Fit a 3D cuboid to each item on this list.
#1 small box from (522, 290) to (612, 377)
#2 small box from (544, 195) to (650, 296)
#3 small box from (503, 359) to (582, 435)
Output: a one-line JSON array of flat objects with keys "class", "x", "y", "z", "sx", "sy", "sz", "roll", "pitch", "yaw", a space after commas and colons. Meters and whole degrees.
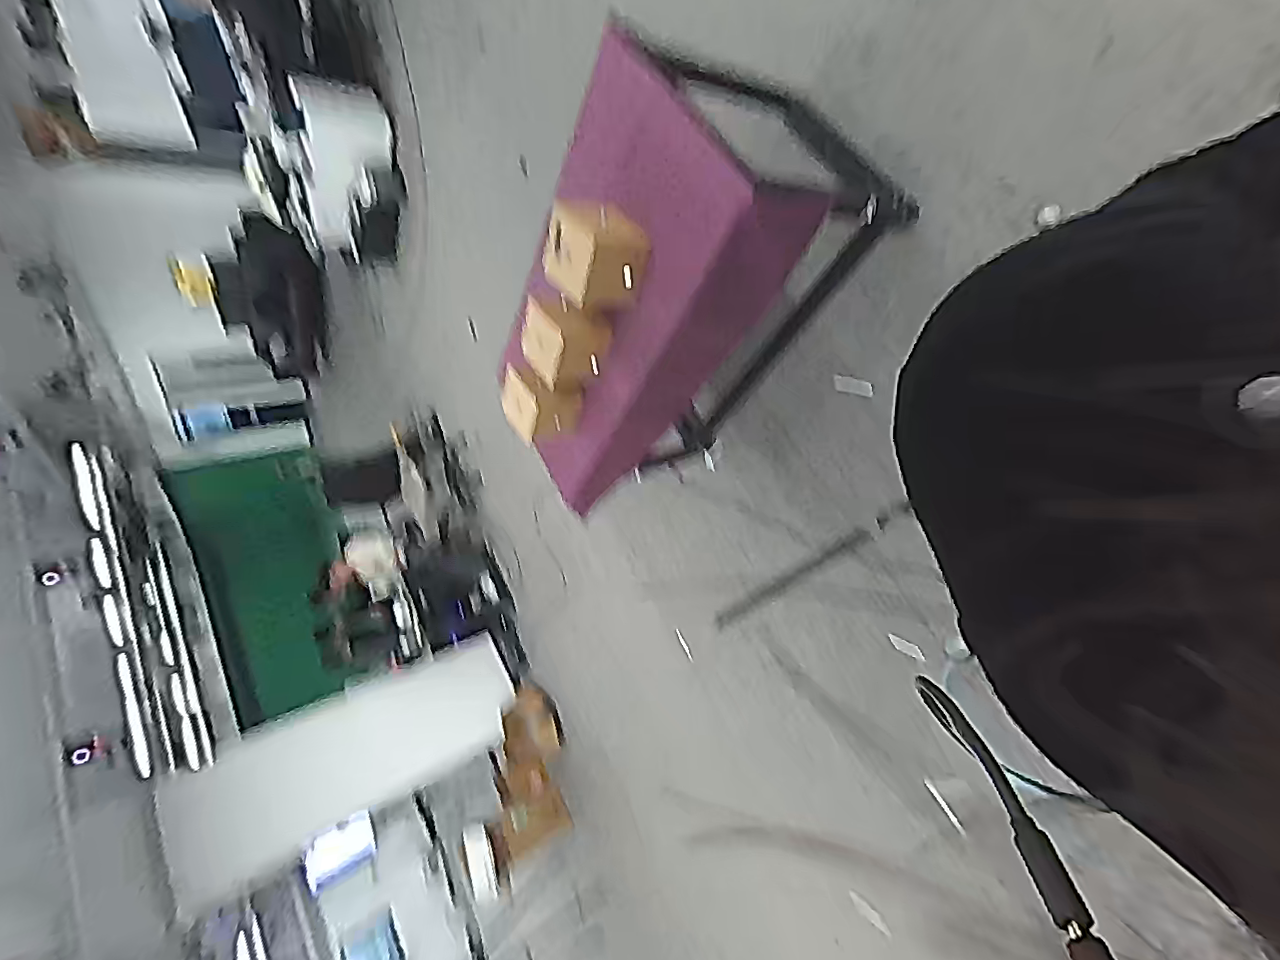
[{"class": "small box", "x": -0.205, "y": -0.411, "z": 1.510, "sx": 0.179, "sy": 0.176, "sz": 0.168, "roll": 52, "pitch": 140, "yaw": 25}, {"class": "small box", "x": -0.107, "y": -0.568, "z": 1.317, "sx": 0.179, "sy": 0.176, "sz": 0.168, "roll": 49, "pitch": 138, "yaw": 27}, {"class": "small box", "x": -0.305, "y": -0.270, "z": 1.695, "sx": 0.179, "sy": 0.176, "sz": 0.168, "roll": 53, "pitch": 139, "yaw": 24}]
